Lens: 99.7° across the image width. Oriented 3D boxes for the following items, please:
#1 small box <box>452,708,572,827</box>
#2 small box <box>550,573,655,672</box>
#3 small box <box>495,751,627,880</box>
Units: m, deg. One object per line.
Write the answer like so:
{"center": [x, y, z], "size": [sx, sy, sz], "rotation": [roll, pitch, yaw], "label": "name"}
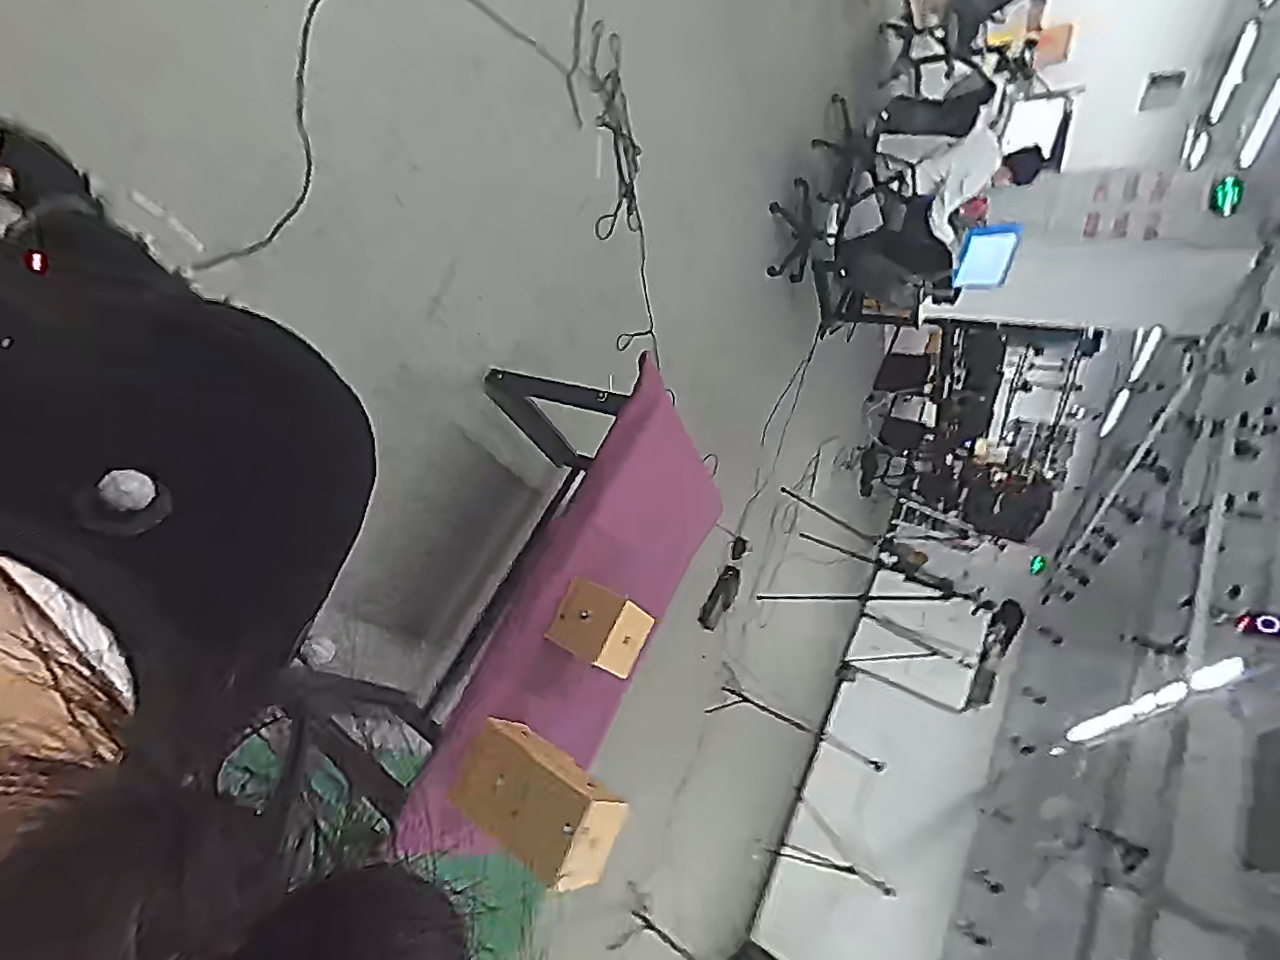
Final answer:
{"center": [-0.292, 0.644, 1.215], "size": [0.179, 0.176, 0.168], "rotation": [-62, 145, -16], "label": "small box"}
{"center": [-0.094, 0.352, 1.359], "size": [0.168, 0.176, 0.179], "rotation": [-60, 146, -16], "label": "small box"}
{"center": [-0.162, 0.689, 1.126], "size": [0.168, 0.176, 0.179], "rotation": [-63, 145, -17], "label": "small box"}
